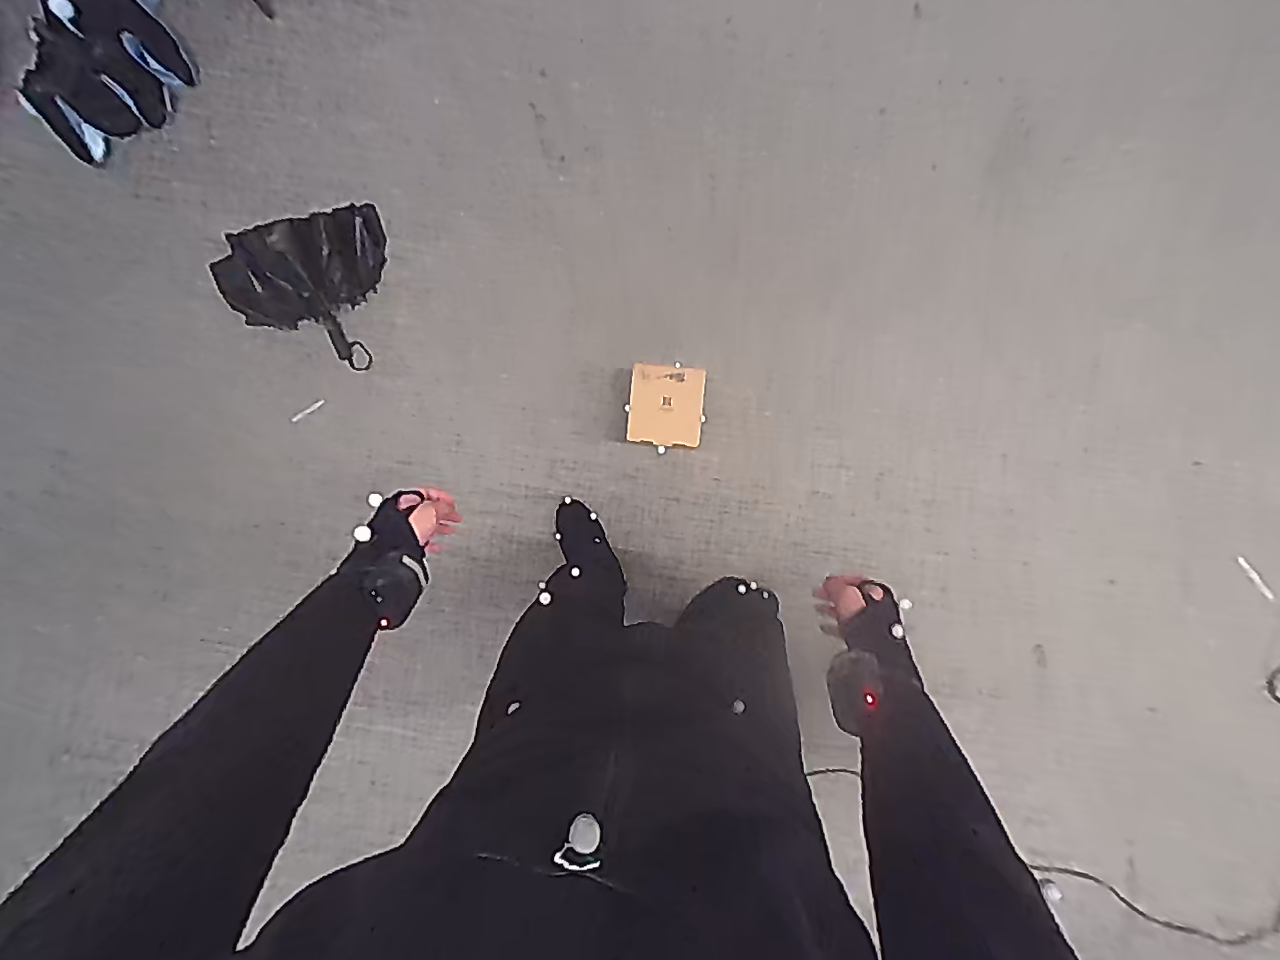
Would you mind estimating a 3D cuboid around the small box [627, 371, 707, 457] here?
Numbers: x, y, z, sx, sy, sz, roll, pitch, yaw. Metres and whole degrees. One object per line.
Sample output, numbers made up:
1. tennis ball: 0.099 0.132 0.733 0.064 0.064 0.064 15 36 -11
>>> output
1. small box: 0.064 -0.150 1.280 0.168 0.176 0.179 6 91 2
